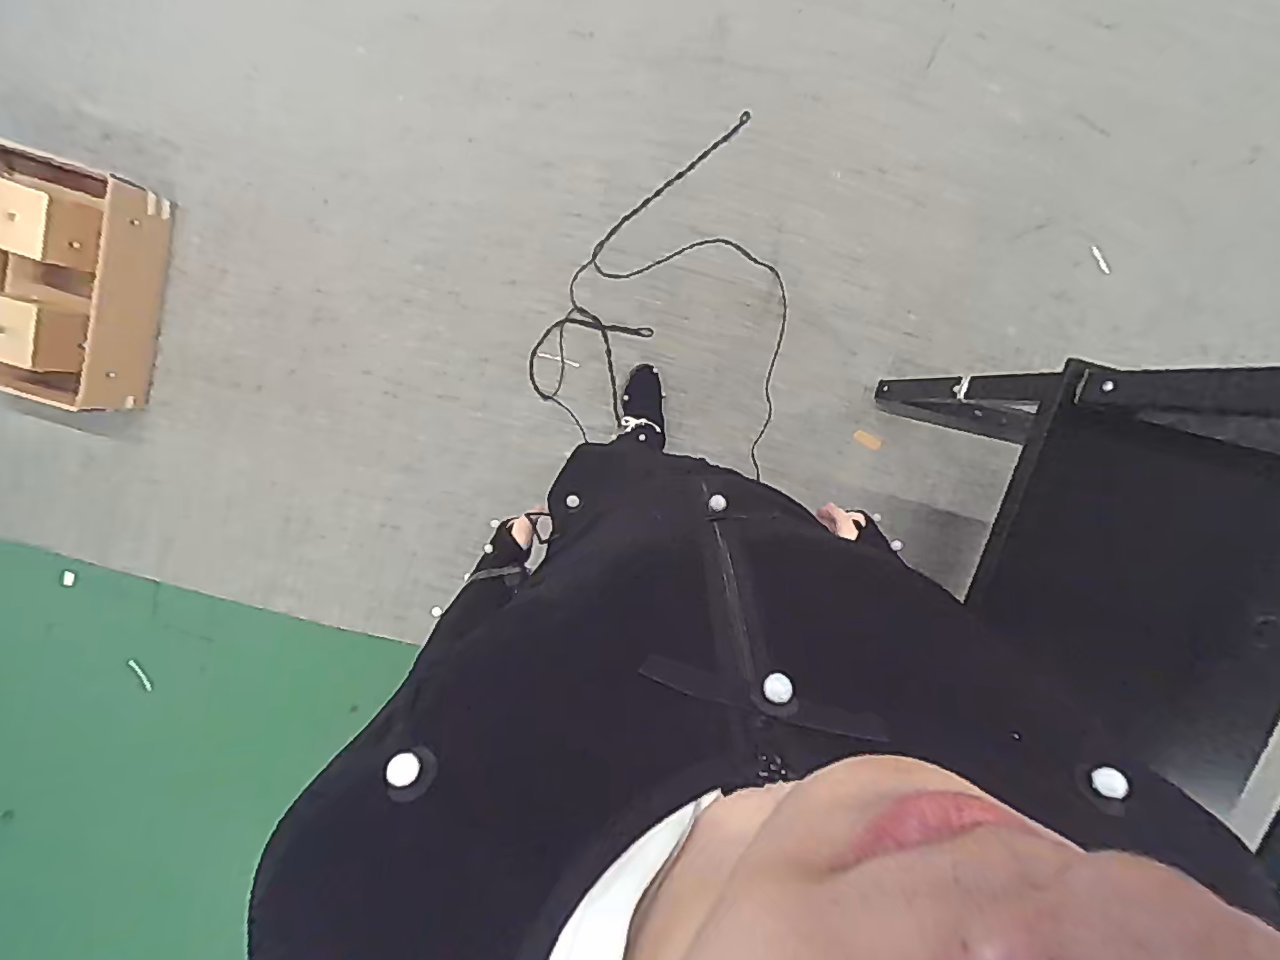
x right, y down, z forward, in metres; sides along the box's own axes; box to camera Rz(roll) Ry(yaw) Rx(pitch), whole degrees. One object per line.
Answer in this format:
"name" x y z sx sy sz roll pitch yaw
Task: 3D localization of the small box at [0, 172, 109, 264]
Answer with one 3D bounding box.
"small box" -1.536 -0.672 1.394 0.179 0.176 0.168 18 100 -3
